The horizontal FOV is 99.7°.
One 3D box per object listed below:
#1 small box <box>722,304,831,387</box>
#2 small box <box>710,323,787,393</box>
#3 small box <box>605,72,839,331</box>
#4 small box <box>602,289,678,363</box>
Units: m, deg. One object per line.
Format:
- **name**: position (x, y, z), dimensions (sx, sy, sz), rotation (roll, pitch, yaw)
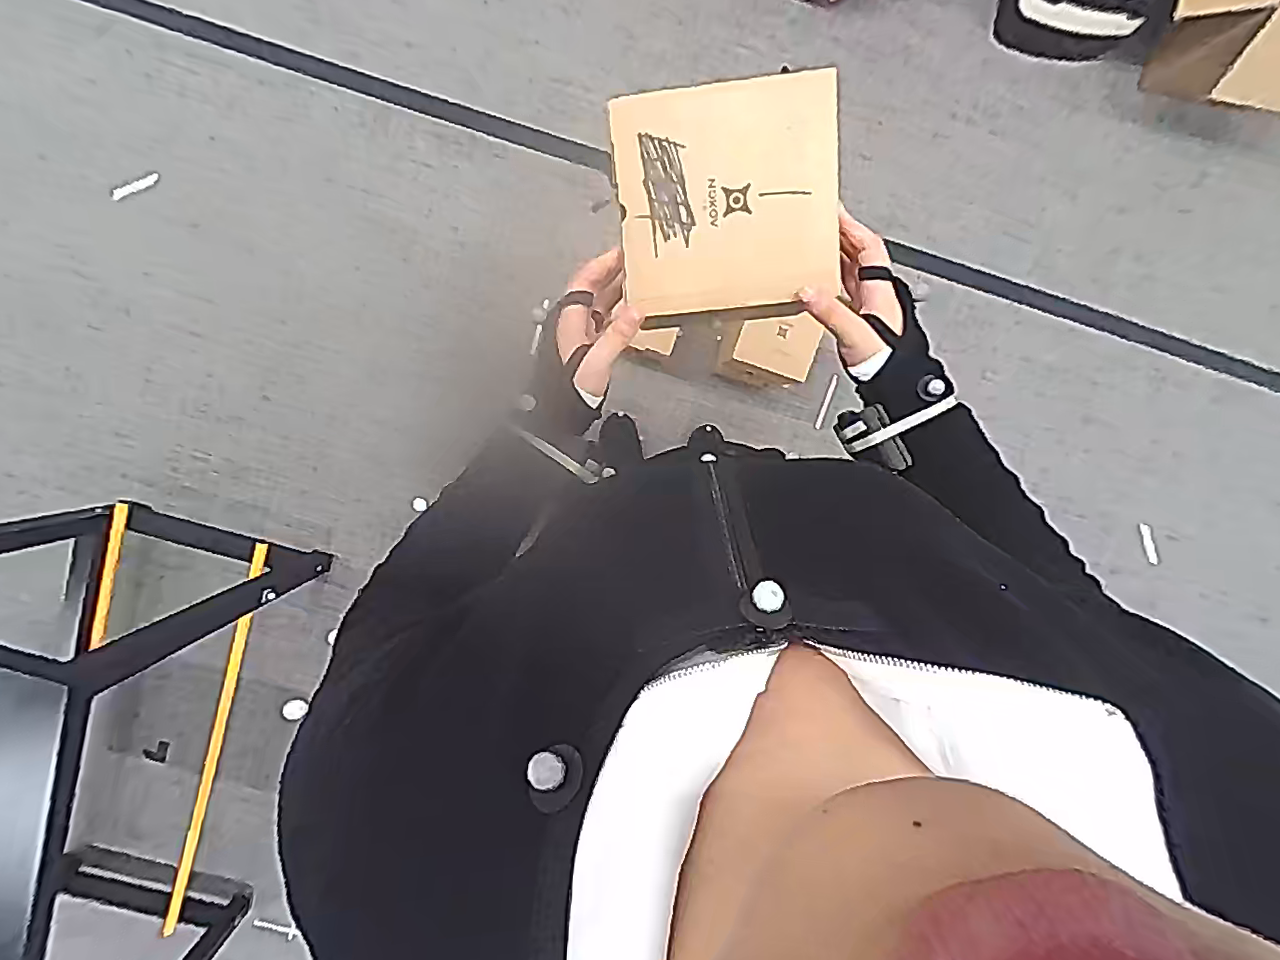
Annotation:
- **small box**: position (0.292, -0.315, 1.205), dimensions (0.168, 0.176, 0.179), rotation (18, 98, -3)
- **small box**: position (0.291, -0.325, 1.367), dimensions (0.179, 0.176, 0.168), rotation (17, 97, -3)
- **small box**: position (0.070, -0.232, 0.497), dimensions (0.179, 0.176, 0.168), rotation (-4, 102, 4)
- **small box**: position (0.015, -0.402, 1.353), dimensions (0.168, 0.176, 0.179), rotation (20, 97, -3)
